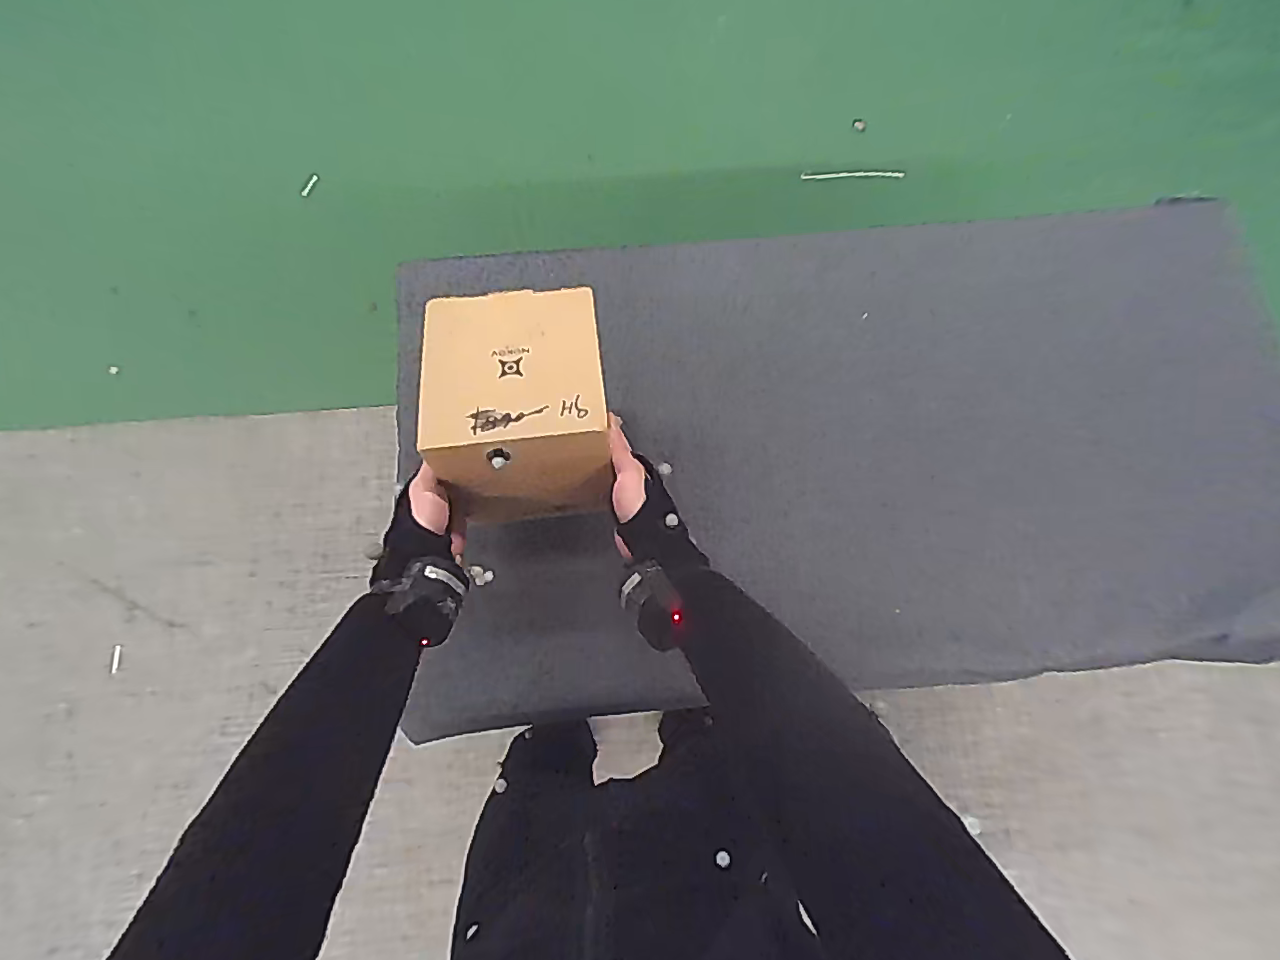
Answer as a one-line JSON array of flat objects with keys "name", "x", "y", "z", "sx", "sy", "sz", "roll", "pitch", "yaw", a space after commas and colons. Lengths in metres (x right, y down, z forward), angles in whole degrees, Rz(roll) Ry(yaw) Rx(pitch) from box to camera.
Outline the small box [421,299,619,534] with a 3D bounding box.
[{"name": "small box", "x": -0.115, "y": -0.062, "z": 0.574, "sx": 0.168, "sy": 0.176, "sz": 0.179, "roll": -7, "pitch": 61, "yaw": -2}]
